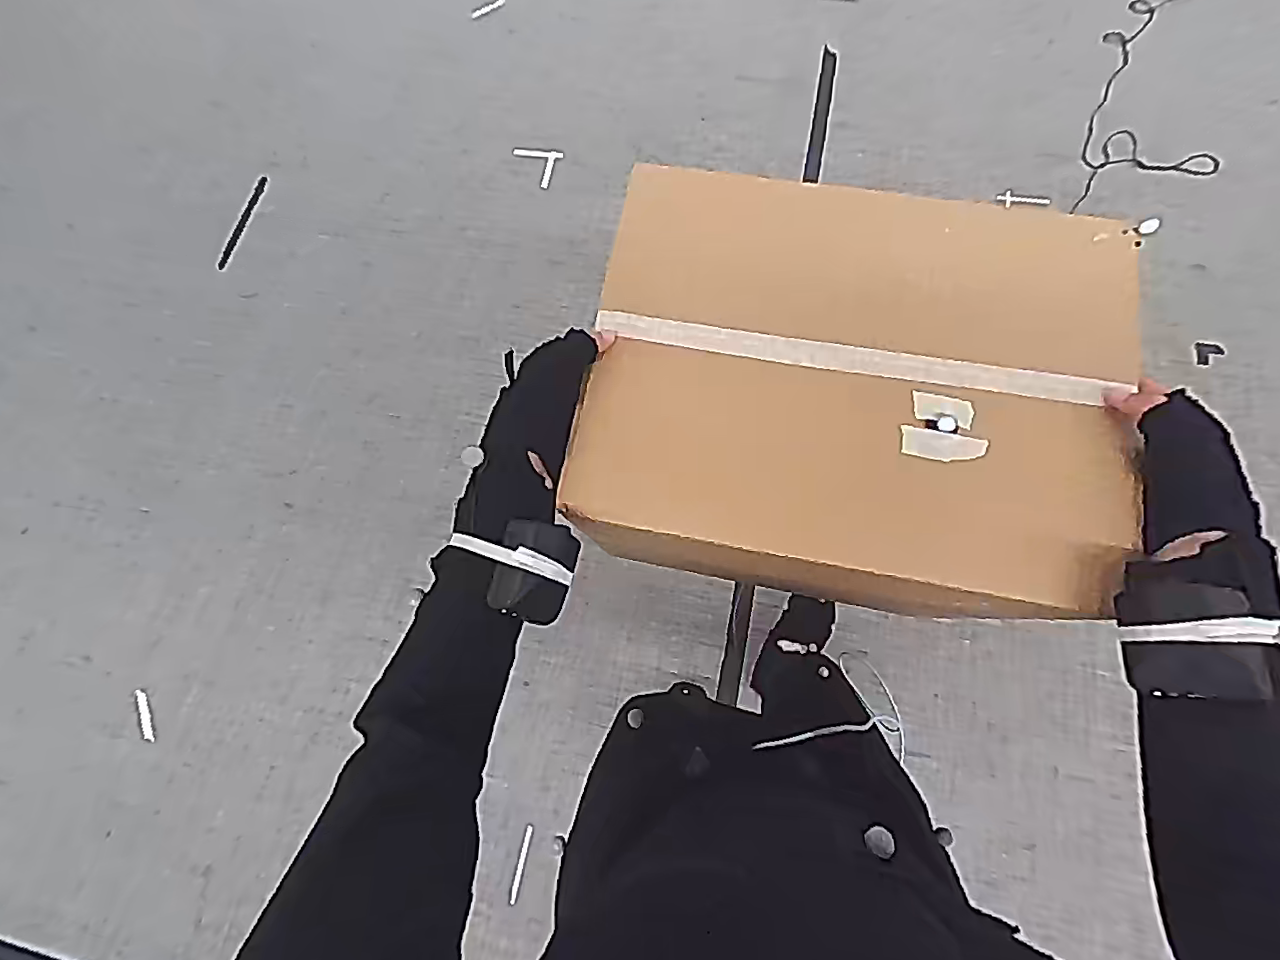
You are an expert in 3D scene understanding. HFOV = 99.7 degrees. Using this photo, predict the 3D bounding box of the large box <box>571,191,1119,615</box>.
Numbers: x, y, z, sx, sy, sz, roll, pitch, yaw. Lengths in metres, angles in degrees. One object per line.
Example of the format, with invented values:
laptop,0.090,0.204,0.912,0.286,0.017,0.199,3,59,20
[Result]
large box,0.171,-0.046,0.572,0.408,0.320,0.320,10,78,5
